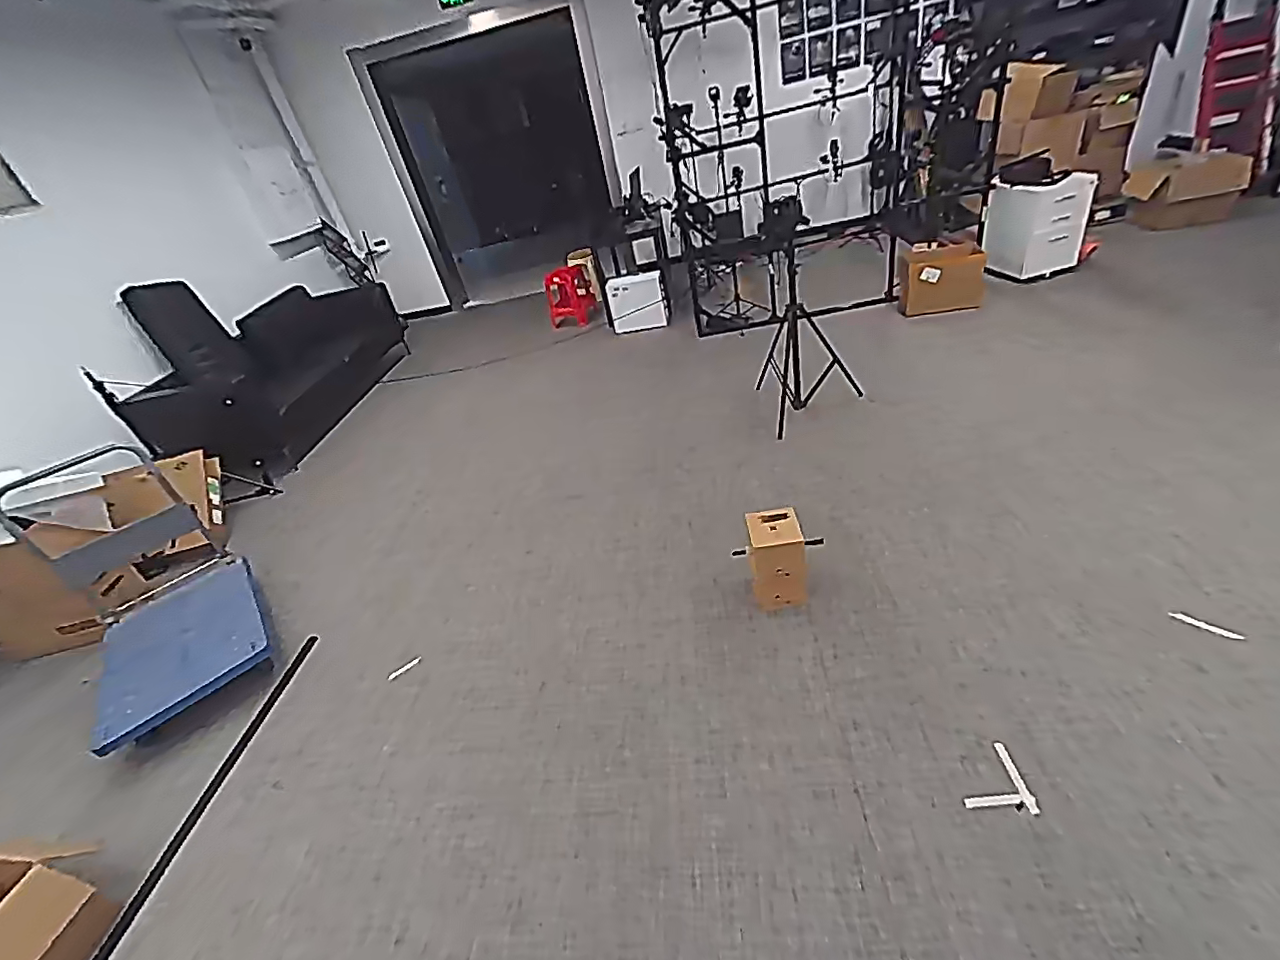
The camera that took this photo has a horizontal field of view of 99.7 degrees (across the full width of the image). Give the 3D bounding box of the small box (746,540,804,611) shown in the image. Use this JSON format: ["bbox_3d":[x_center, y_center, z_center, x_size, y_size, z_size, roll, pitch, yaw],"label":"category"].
[{"bbox_3d":[0.488,0.345,1.956,0.168,0.176,0.179,-12,34,4],"label":"small box"}]
